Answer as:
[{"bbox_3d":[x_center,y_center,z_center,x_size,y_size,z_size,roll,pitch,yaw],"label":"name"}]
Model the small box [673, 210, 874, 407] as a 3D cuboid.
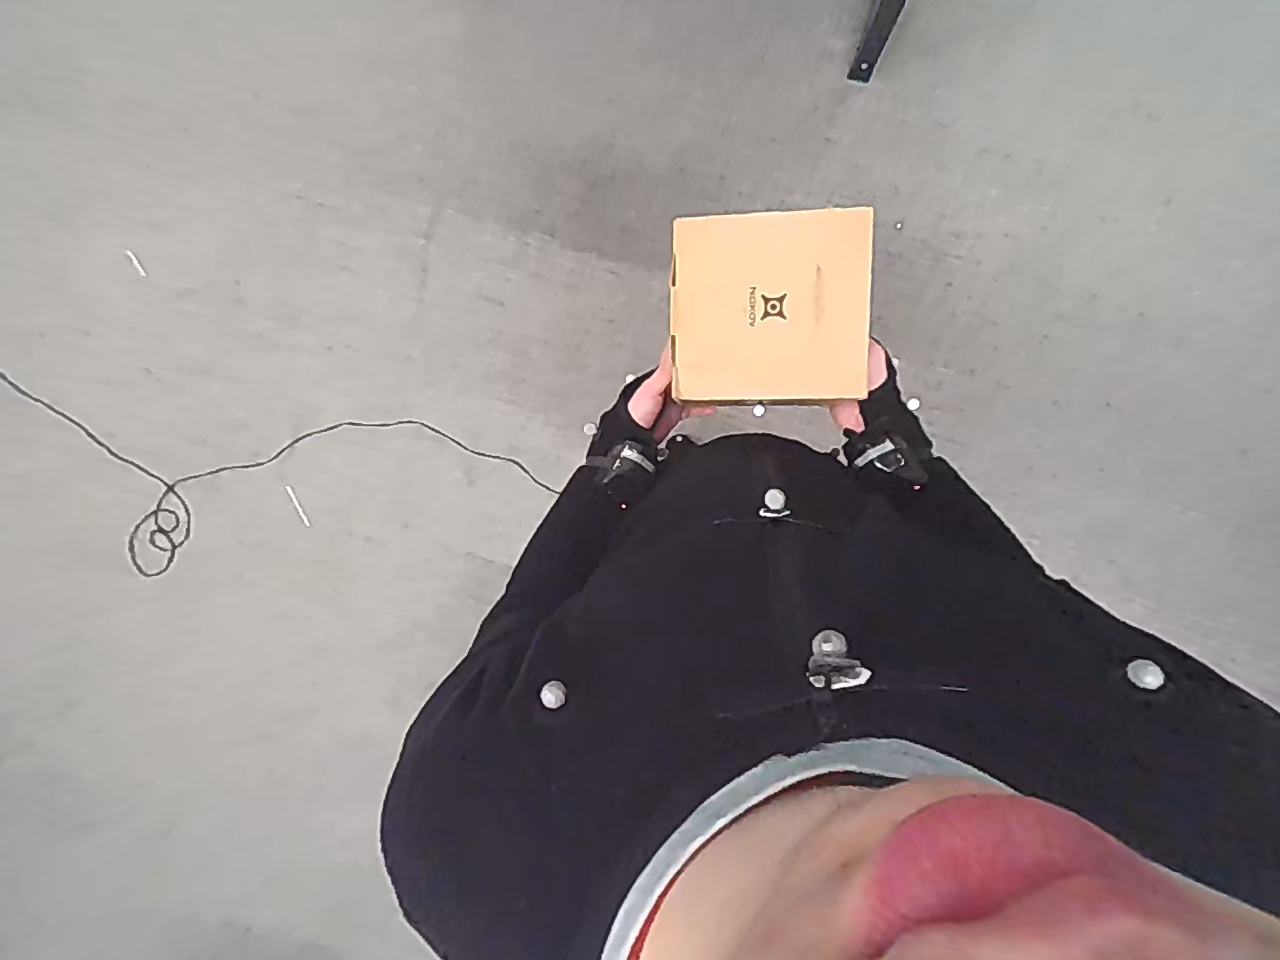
[{"bbox_3d":[0.129,-0.162,0.567,0.179,0.176,0.168,0,97,7],"label":"small box"}]
